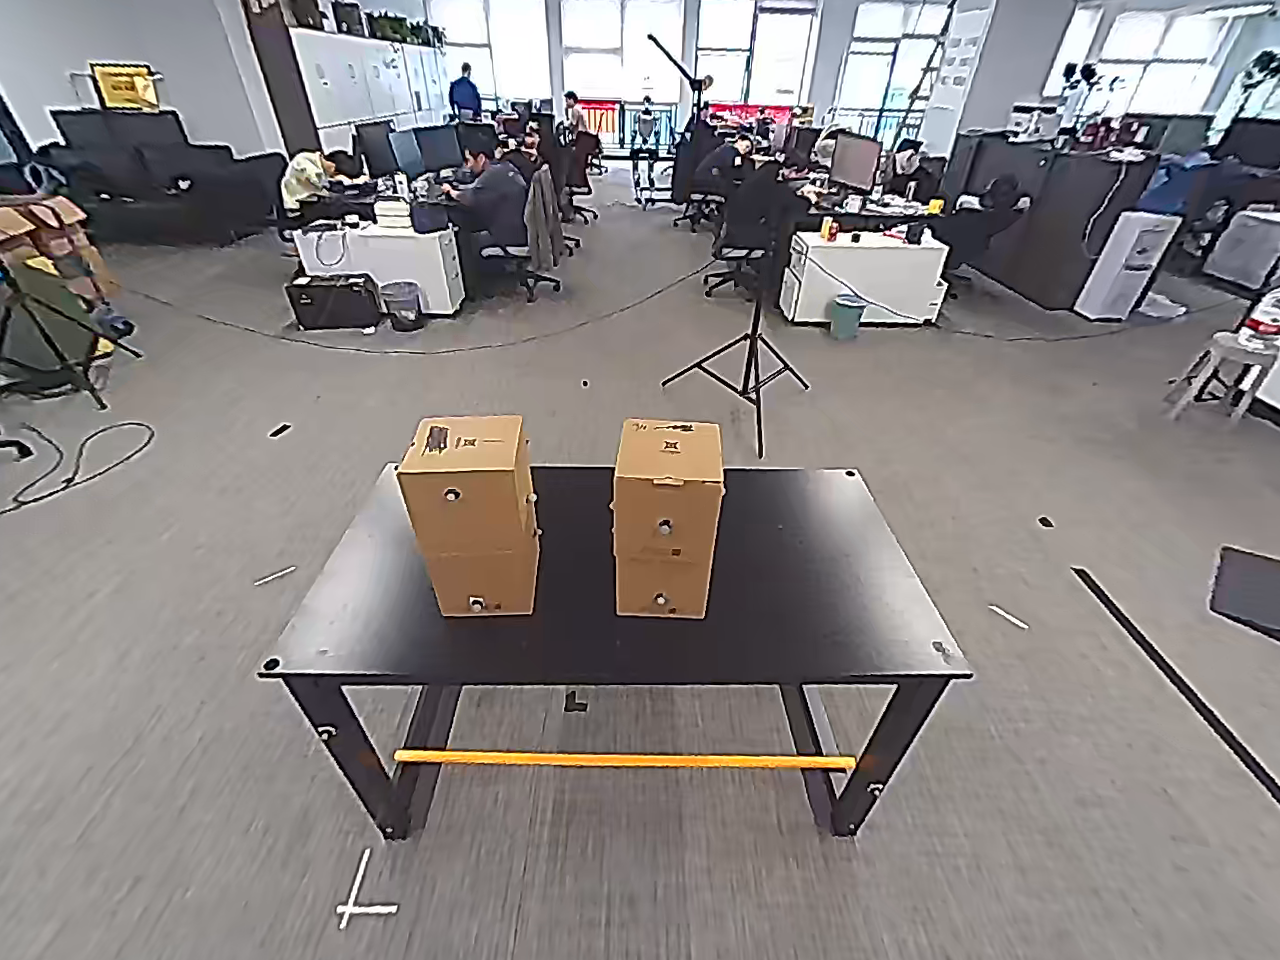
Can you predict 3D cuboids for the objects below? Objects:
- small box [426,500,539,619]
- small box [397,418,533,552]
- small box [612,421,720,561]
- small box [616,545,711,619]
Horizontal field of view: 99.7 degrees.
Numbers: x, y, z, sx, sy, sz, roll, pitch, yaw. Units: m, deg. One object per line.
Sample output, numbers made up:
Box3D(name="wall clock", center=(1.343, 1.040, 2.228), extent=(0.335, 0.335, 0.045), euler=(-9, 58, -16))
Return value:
Box3D(name="small box", center=(-0.285, 0.140, 1.022), extent=(0.168, 0.176, 0.179), euler=(-3, 38, -4))
Box3D(name="small box", center=(-0.284, 0.010, 0.921), extent=(0.179, 0.176, 0.168), euler=(-2, 37, -5))
Box3D(name="small box", center=(0.045, 0.019, 0.918), extent=(0.168, 0.176, 0.179), euler=(4, 37, 3))
Box3D(name="small box", center=(0.042, 0.140, 1.030), extent=(0.168, 0.176, 0.179), euler=(2, 36, 1))
